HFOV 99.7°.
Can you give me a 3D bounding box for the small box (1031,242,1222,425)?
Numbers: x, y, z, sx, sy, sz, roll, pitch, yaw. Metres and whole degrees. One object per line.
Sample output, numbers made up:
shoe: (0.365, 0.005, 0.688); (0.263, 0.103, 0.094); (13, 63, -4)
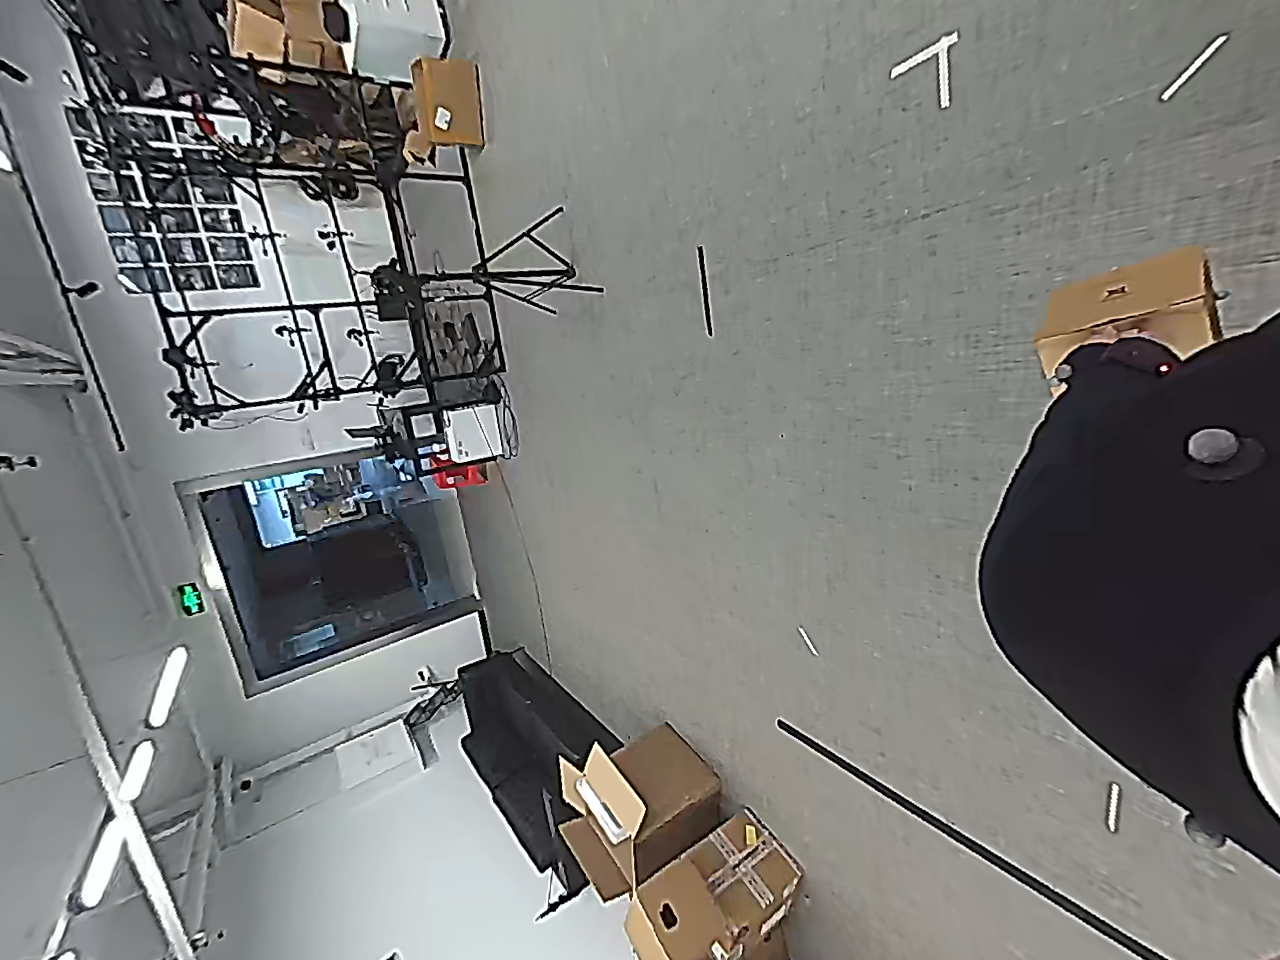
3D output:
small box: (0.681, -0.190, 0.757); (0.168, 0.179, 0.176); (-9, 121, 50)
